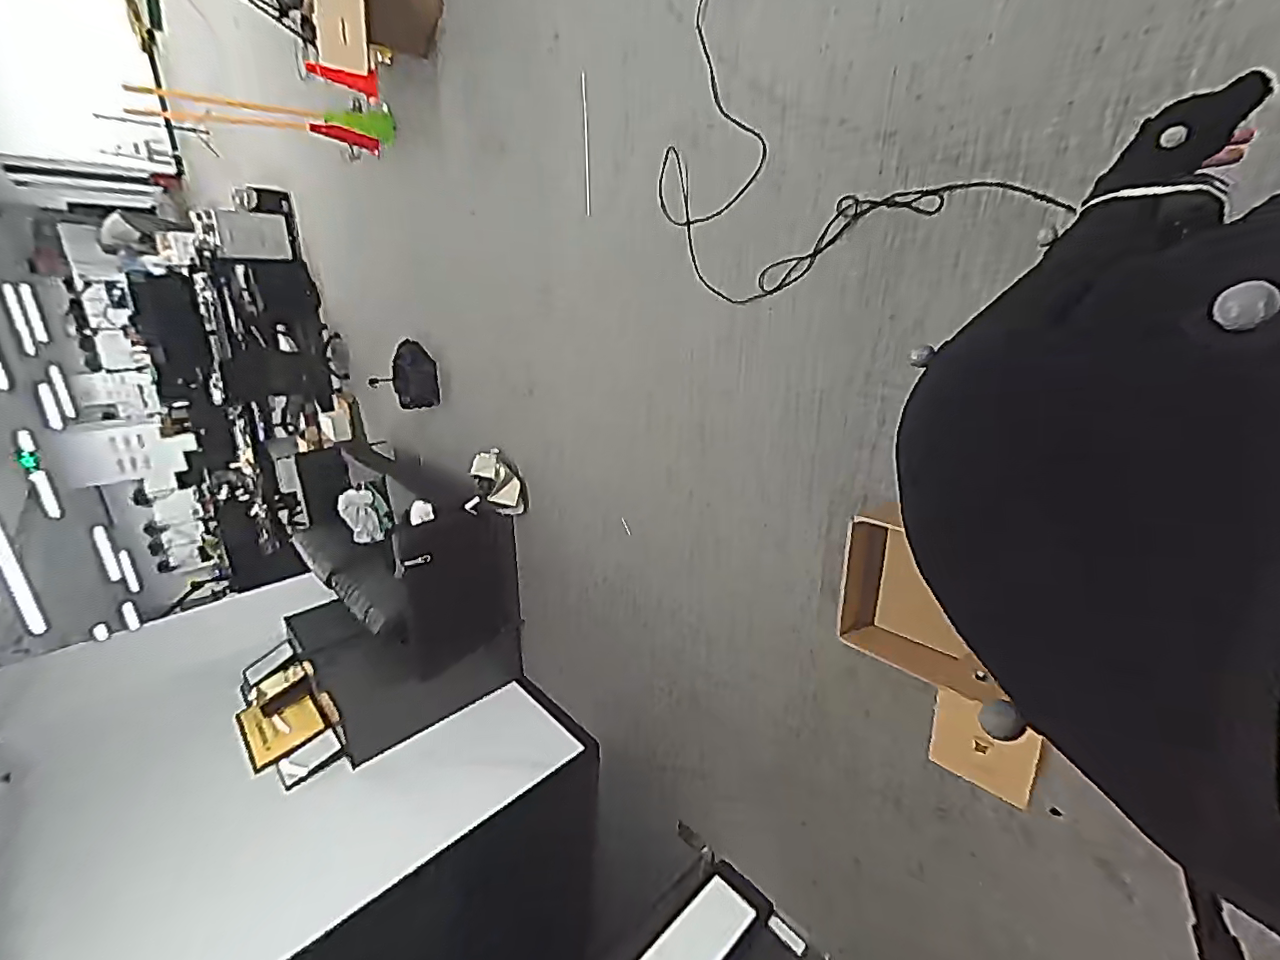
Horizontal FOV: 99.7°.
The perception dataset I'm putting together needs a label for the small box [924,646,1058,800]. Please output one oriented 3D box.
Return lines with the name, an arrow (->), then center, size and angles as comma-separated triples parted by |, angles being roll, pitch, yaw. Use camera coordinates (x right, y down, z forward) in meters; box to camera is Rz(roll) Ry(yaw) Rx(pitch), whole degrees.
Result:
small box -> 0.672, 0.450, 1.035 | 0.168, 0.176, 0.179 | 18, 118, 45
